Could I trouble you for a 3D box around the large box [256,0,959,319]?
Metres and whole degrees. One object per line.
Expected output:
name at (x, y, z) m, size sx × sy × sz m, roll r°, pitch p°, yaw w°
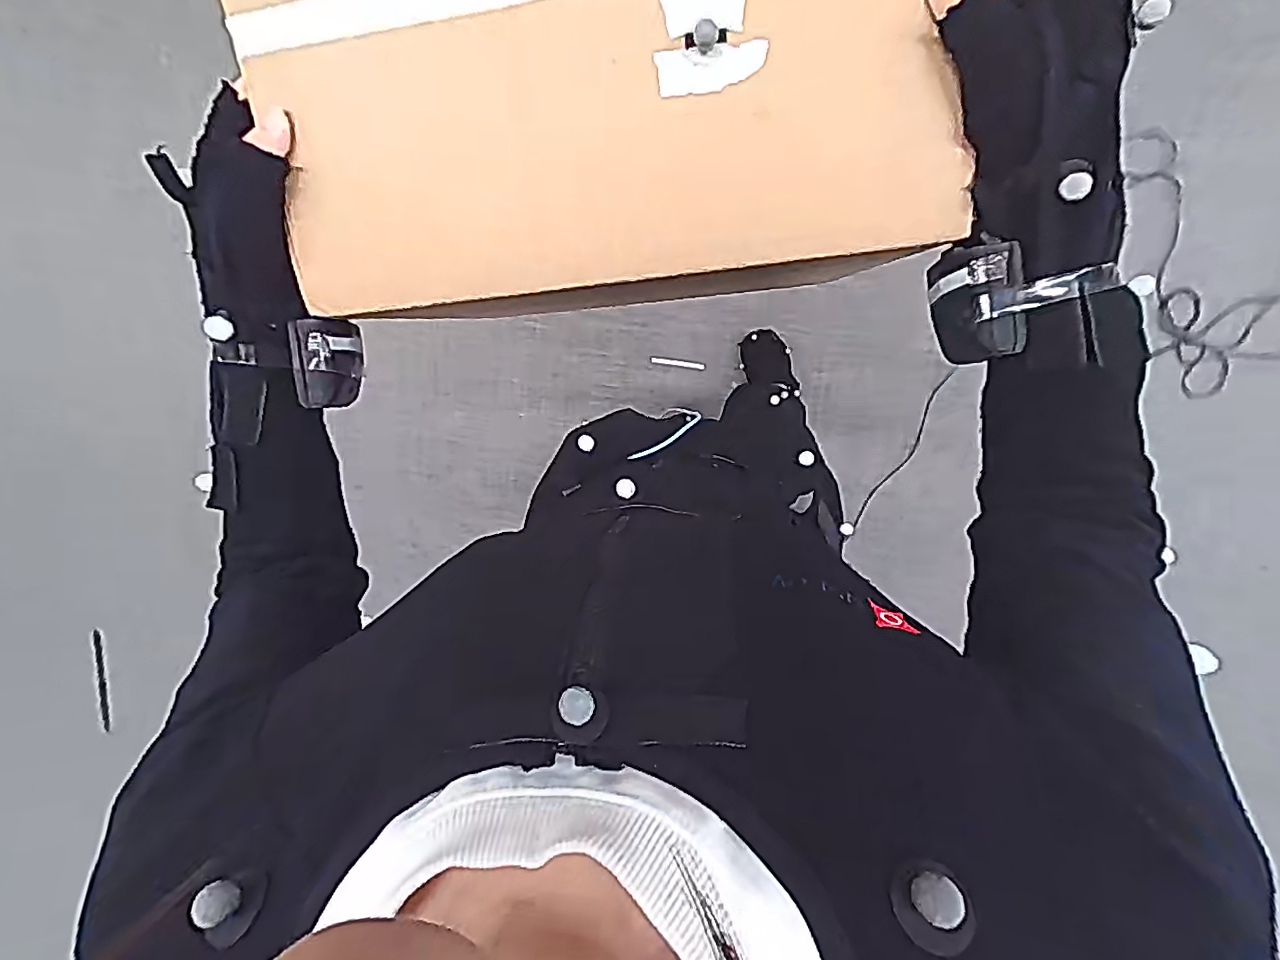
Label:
large box at (-0.017, -0.319, 0.444) m, size 0.408 × 0.320 × 0.320 m, roll -5°, pitch 106°, yaw 8°
